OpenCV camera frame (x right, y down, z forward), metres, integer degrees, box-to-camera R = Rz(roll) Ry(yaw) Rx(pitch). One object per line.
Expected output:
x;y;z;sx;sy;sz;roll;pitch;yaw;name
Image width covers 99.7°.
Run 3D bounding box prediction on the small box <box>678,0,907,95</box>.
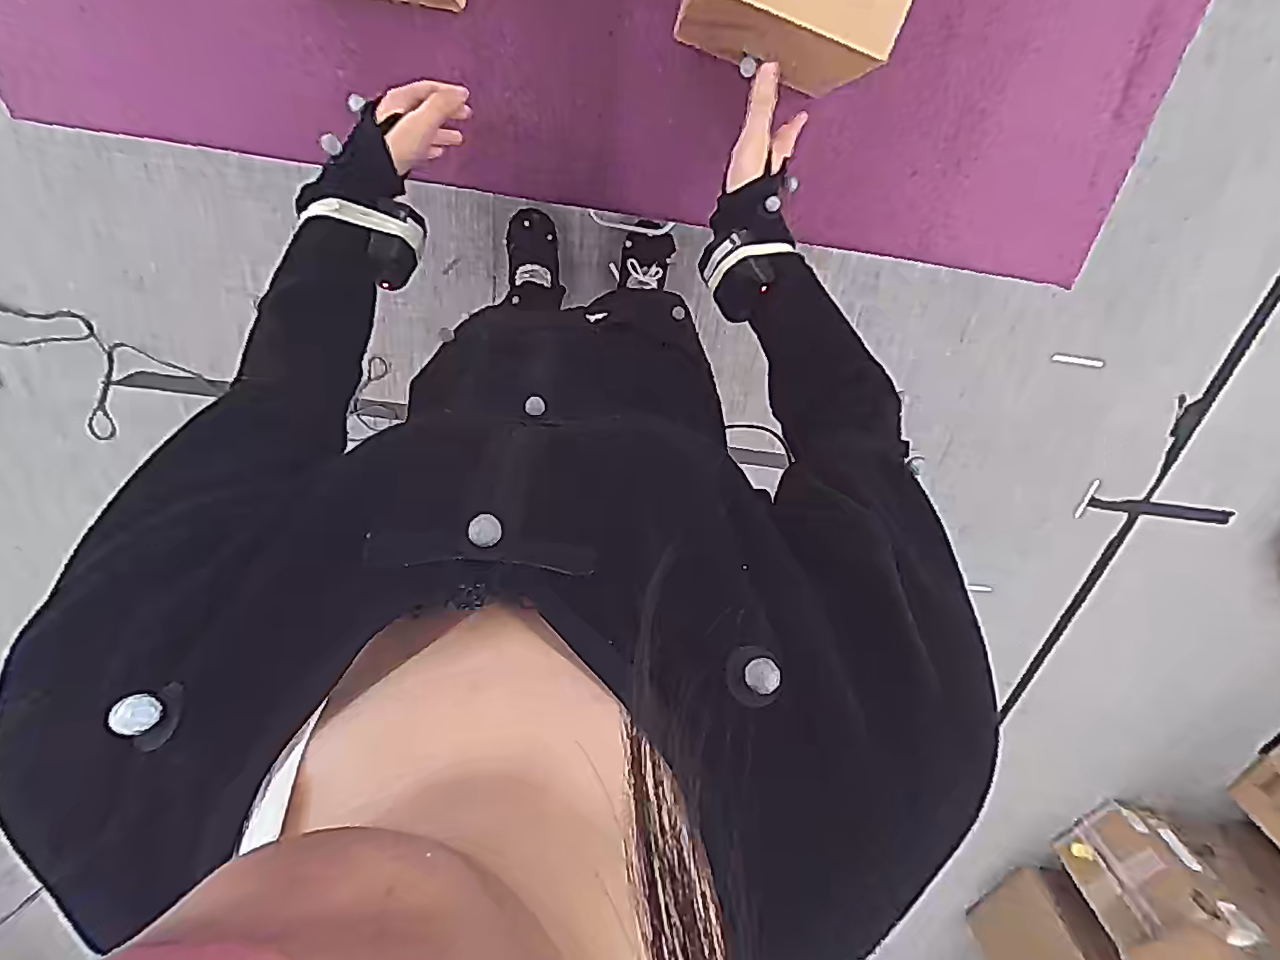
0.138;-0.465;0.457;0.168;0.176;0.179;15;116;-10;small box
